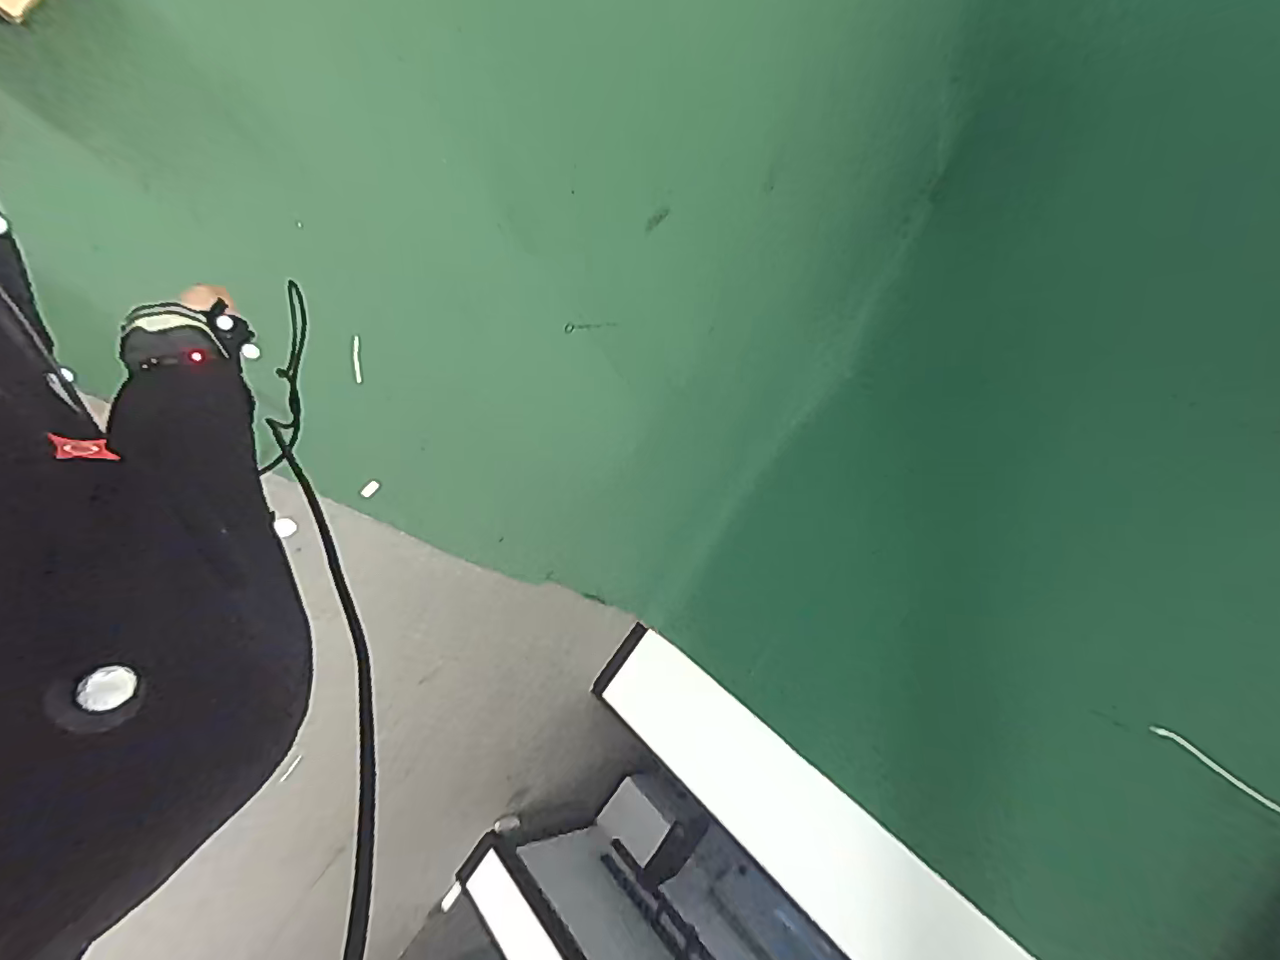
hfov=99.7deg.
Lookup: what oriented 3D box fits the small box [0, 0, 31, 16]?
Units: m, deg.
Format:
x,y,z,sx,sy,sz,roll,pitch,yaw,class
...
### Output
x,y,z,sx,sy,sz,roll,pitch,yaw,class
-0.727,-0.637,0.572,0.179,0.176,0.168,-55,145,-2,small box
